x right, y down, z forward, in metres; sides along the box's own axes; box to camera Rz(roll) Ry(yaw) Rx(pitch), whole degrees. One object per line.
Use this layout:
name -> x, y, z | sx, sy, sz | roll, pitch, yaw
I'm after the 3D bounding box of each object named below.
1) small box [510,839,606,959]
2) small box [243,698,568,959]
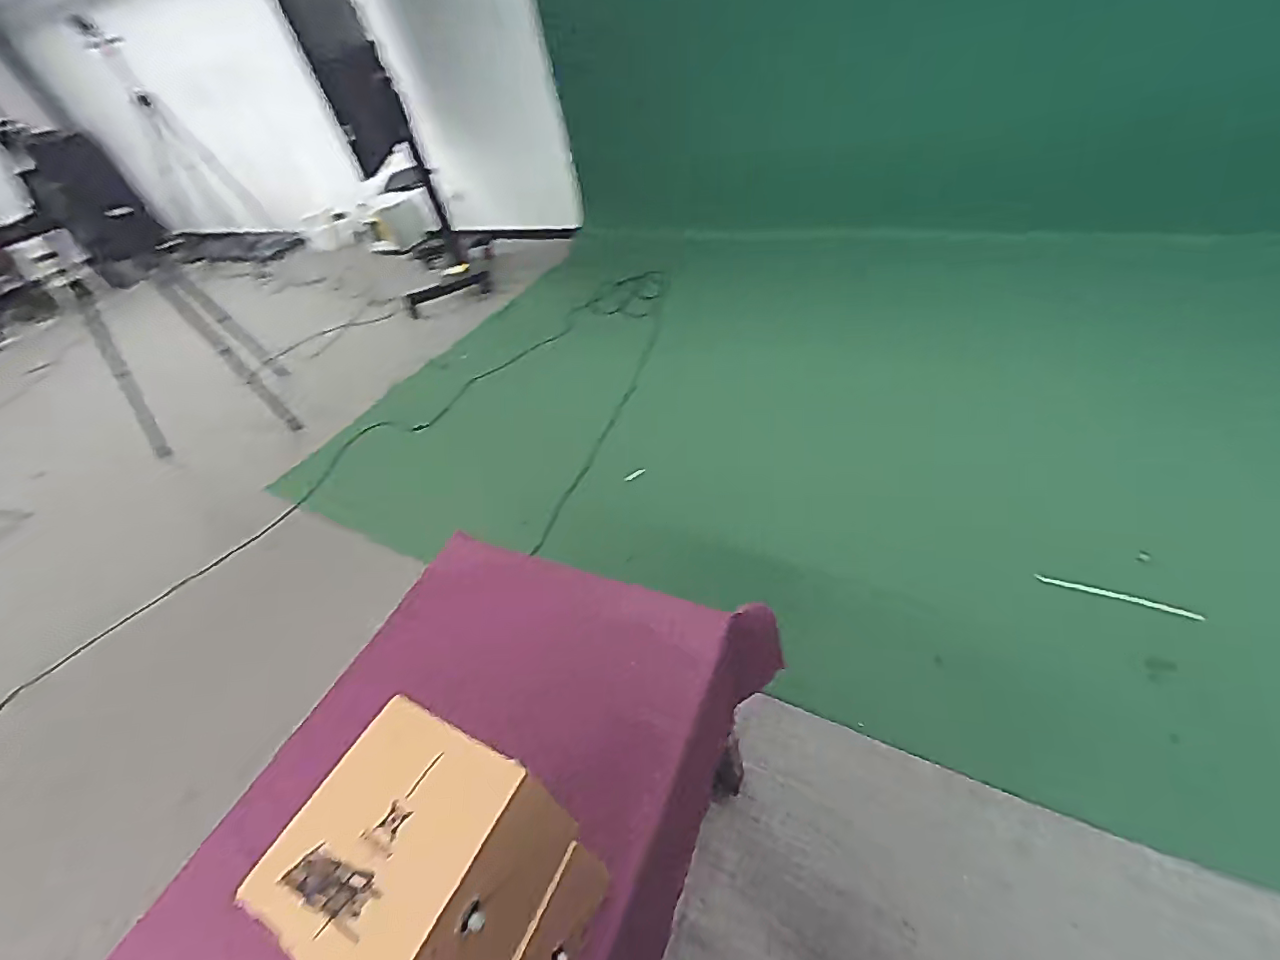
small box -> -0.158, 0.464, 0.594 | 0.179, 0.176, 0.168 | 13, 49, 27
small box -> -0.187, 0.340, 0.488 | 0.168, 0.176, 0.179 | 14, 49, 26
